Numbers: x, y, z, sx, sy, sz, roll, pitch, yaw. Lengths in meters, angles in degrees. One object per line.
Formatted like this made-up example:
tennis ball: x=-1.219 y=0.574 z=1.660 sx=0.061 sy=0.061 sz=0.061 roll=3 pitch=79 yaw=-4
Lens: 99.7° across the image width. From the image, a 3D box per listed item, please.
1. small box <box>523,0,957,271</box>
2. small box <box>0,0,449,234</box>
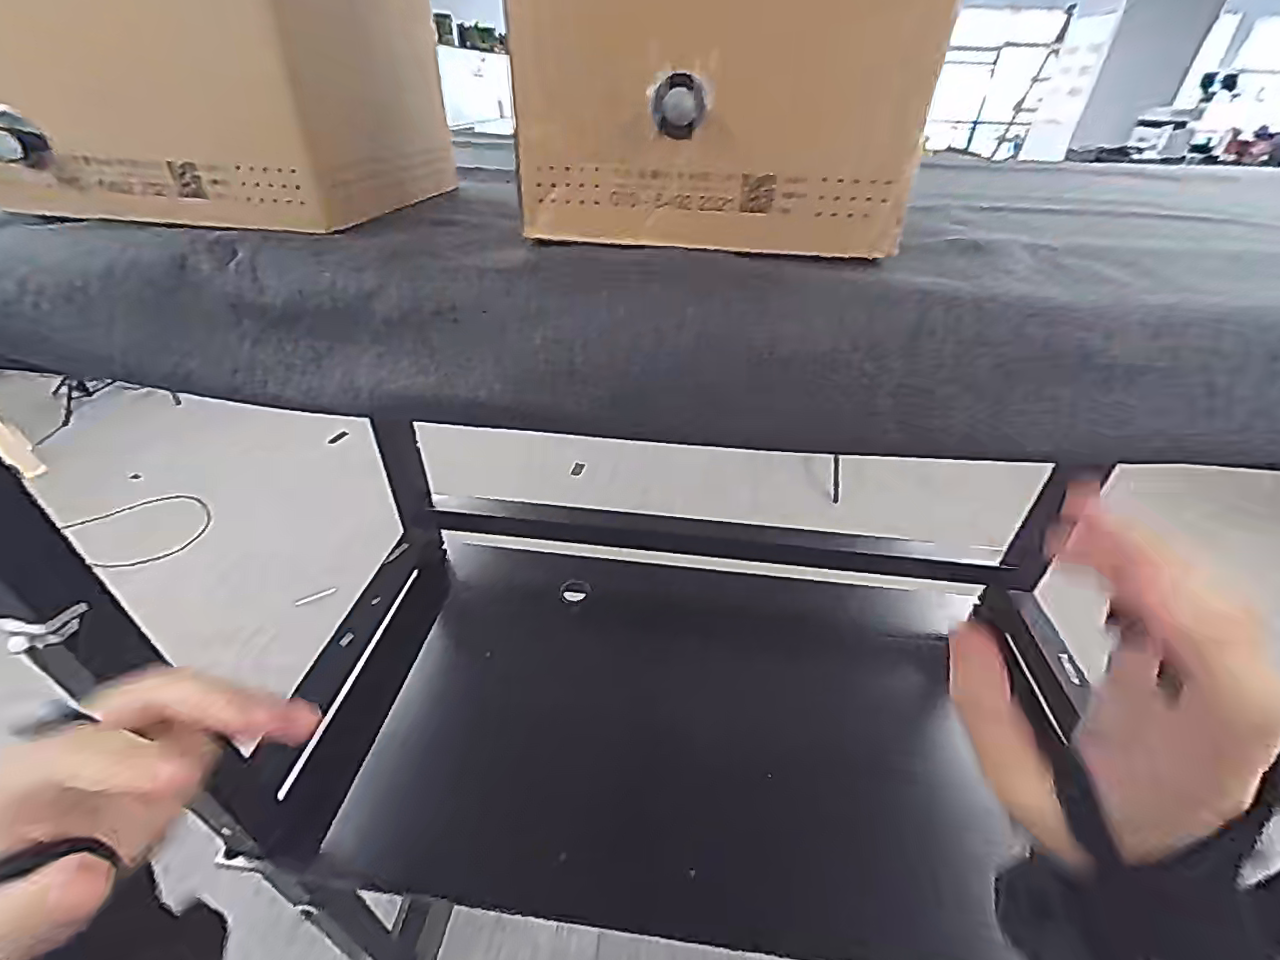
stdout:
small box: x=0.040 y=-0.215 z=0.269 sx=0.168 sy=0.176 sz=0.179 roll=4 pitch=34 yaw=4
small box: x=-0.215 y=-0.234 z=0.282 sx=0.168 sy=0.176 sz=0.179 roll=4 pitch=34 yaw=2
